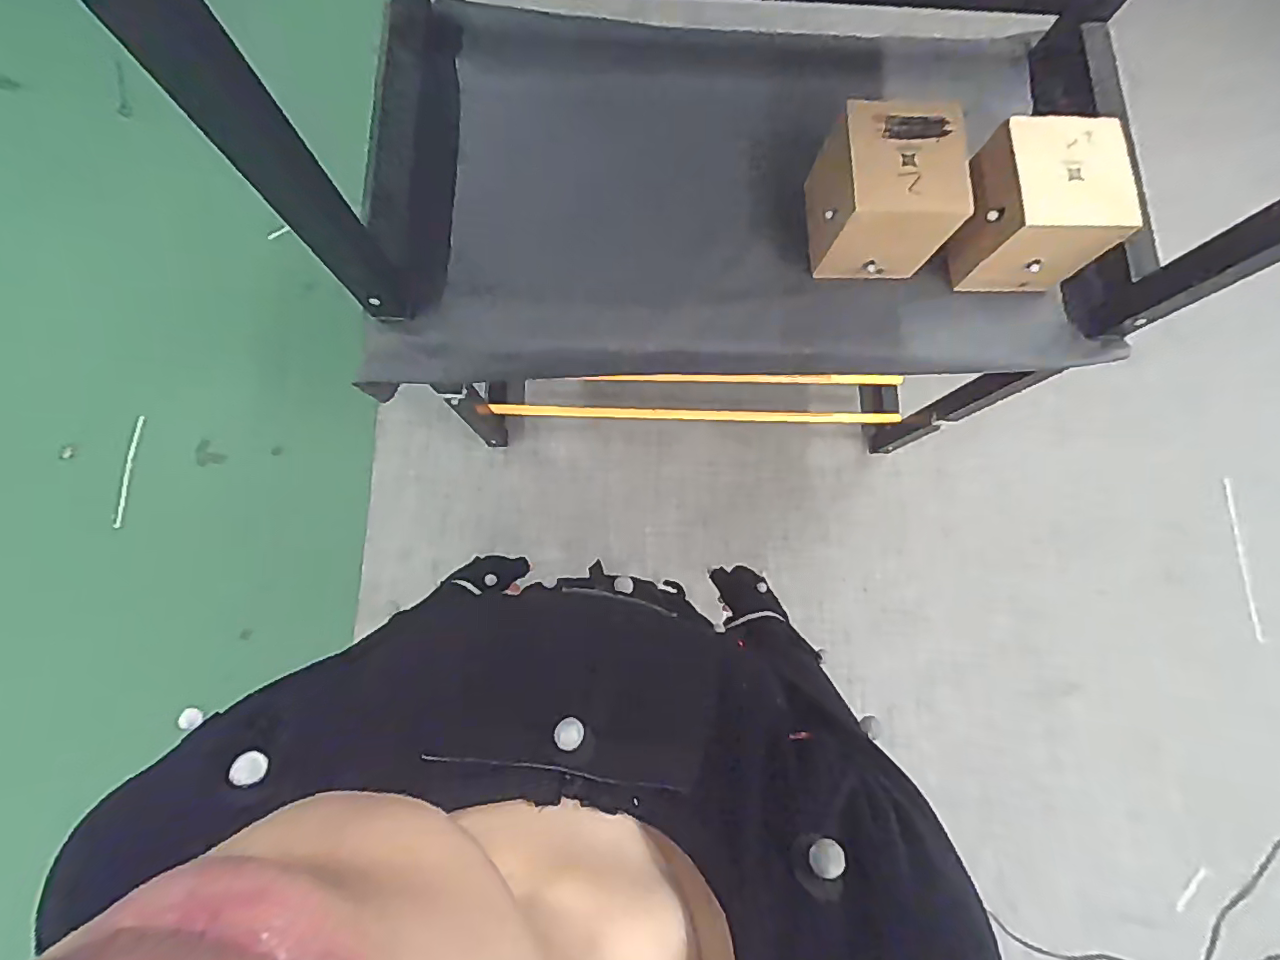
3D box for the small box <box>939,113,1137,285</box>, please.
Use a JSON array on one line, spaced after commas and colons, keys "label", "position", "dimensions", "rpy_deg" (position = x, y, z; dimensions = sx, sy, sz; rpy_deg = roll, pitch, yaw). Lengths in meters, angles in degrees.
[{"label": "small box", "position": [0.590, -0.417, 0.825], "dimensions": [0.168, 0.176, 0.179], "rpy_deg": [-1, 78, -3]}]
